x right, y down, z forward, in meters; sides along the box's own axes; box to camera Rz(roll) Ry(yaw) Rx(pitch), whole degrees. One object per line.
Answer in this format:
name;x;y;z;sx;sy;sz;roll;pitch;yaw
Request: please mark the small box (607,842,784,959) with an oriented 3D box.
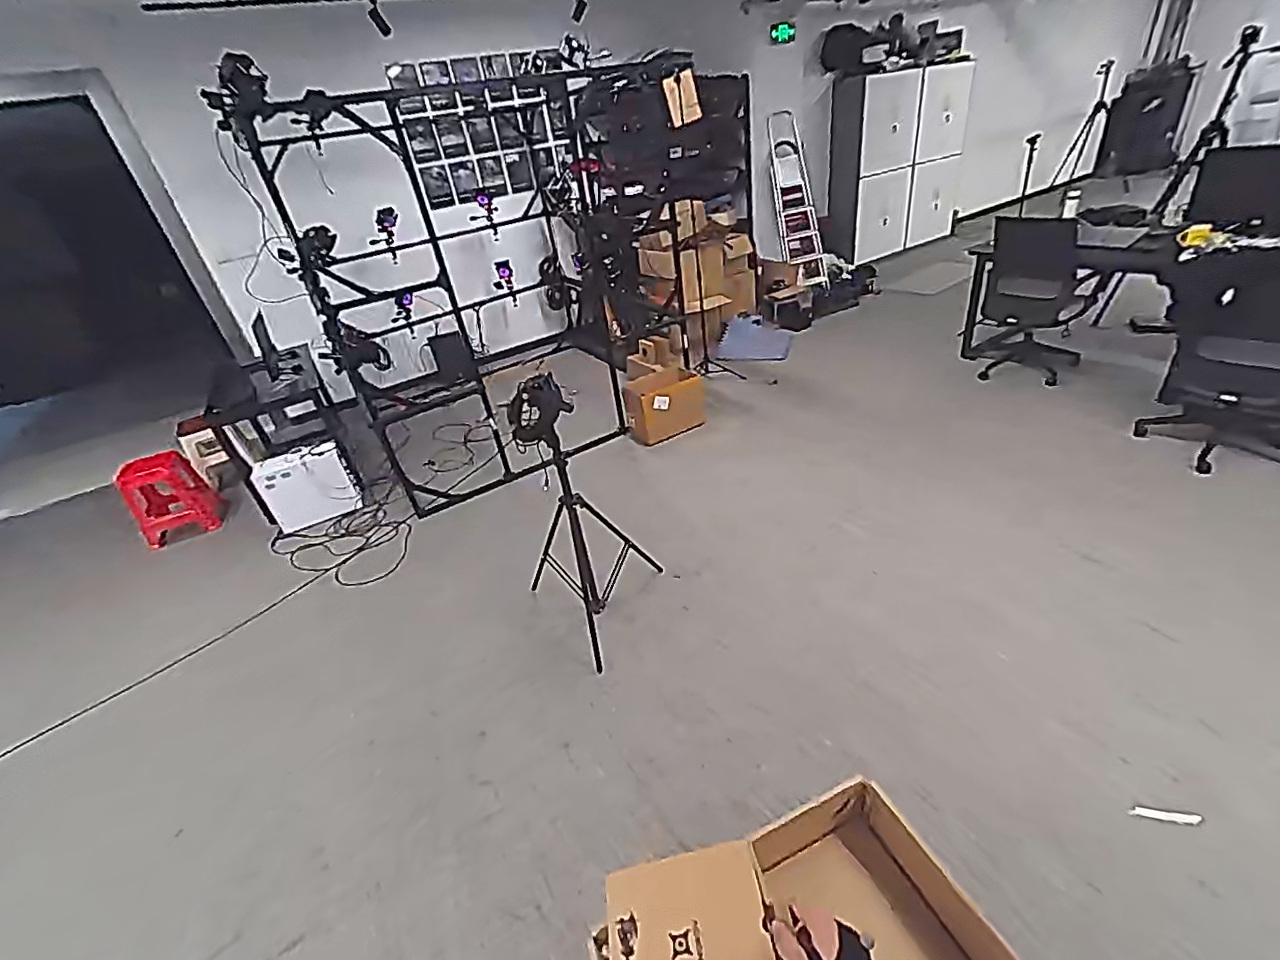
small box;0.072;0.544;0.601;0.179;0.176;0.168;-16;32;3
